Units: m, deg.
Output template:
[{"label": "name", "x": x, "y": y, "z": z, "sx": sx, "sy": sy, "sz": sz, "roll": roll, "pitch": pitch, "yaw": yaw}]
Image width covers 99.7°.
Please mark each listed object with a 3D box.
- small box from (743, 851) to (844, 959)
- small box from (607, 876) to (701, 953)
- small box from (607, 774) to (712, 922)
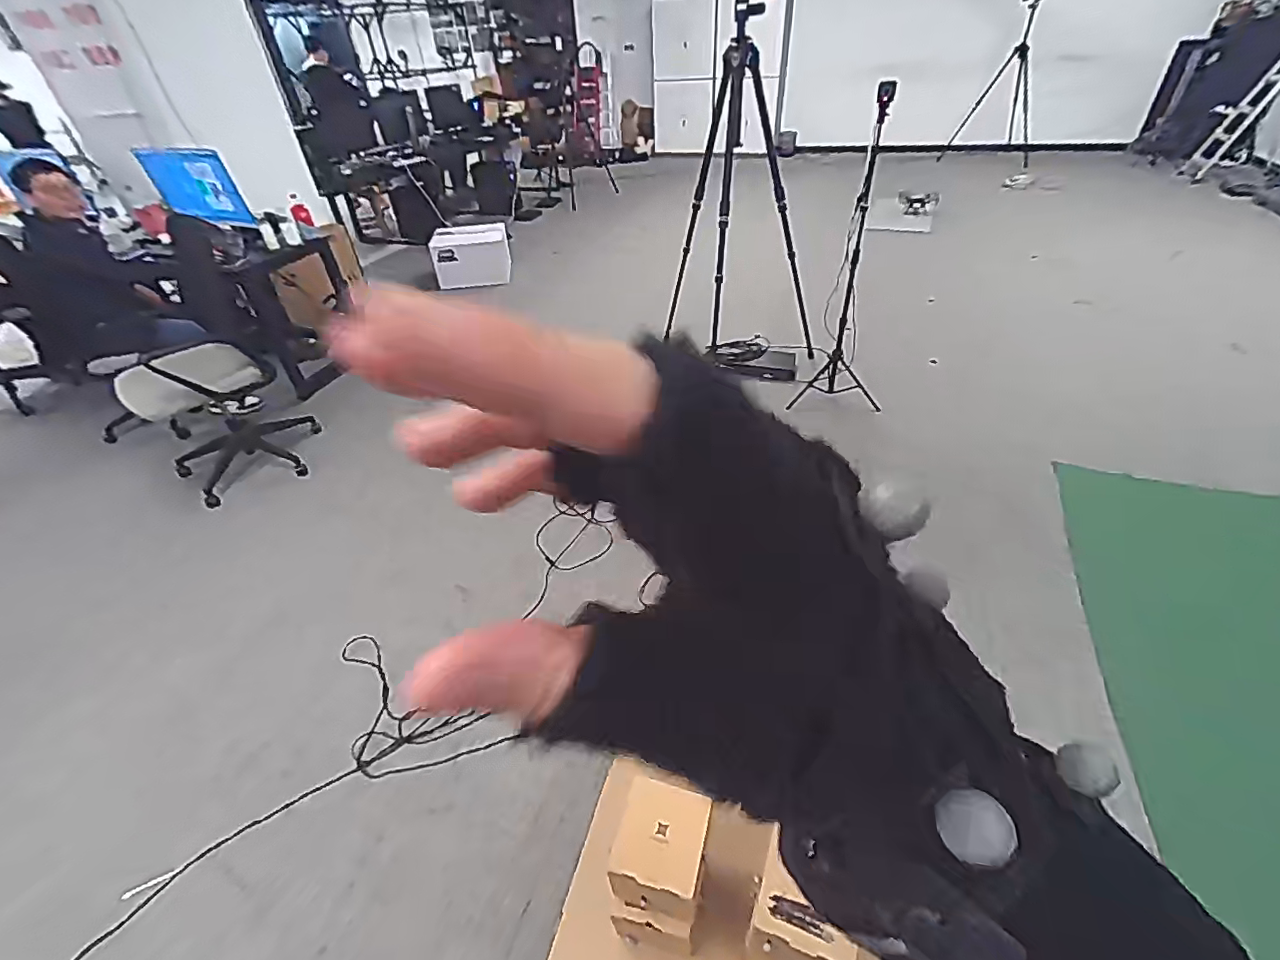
[{"label": "small box", "x": 0.309, "y": 0.910, "z": 1.104, "sx": 0.168, "sy": 0.176, "sz": 0.179, "roll": 11, "pitch": 43, "yaw": 20}, {"label": "small box", "x": 0.039, "y": 0.877, "z": 1.166, "sx": 0.168, "sy": 0.176, "sz": 0.179, "roll": 7, "pitch": 41, "yaw": 14}, {"label": "small box", "x": 0.043, "y": 0.735, "z": 1.081, "sx": 0.168, "sy": 0.176, "sz": 0.179, "roll": 9, "pitch": 41, "yaw": 16}]
